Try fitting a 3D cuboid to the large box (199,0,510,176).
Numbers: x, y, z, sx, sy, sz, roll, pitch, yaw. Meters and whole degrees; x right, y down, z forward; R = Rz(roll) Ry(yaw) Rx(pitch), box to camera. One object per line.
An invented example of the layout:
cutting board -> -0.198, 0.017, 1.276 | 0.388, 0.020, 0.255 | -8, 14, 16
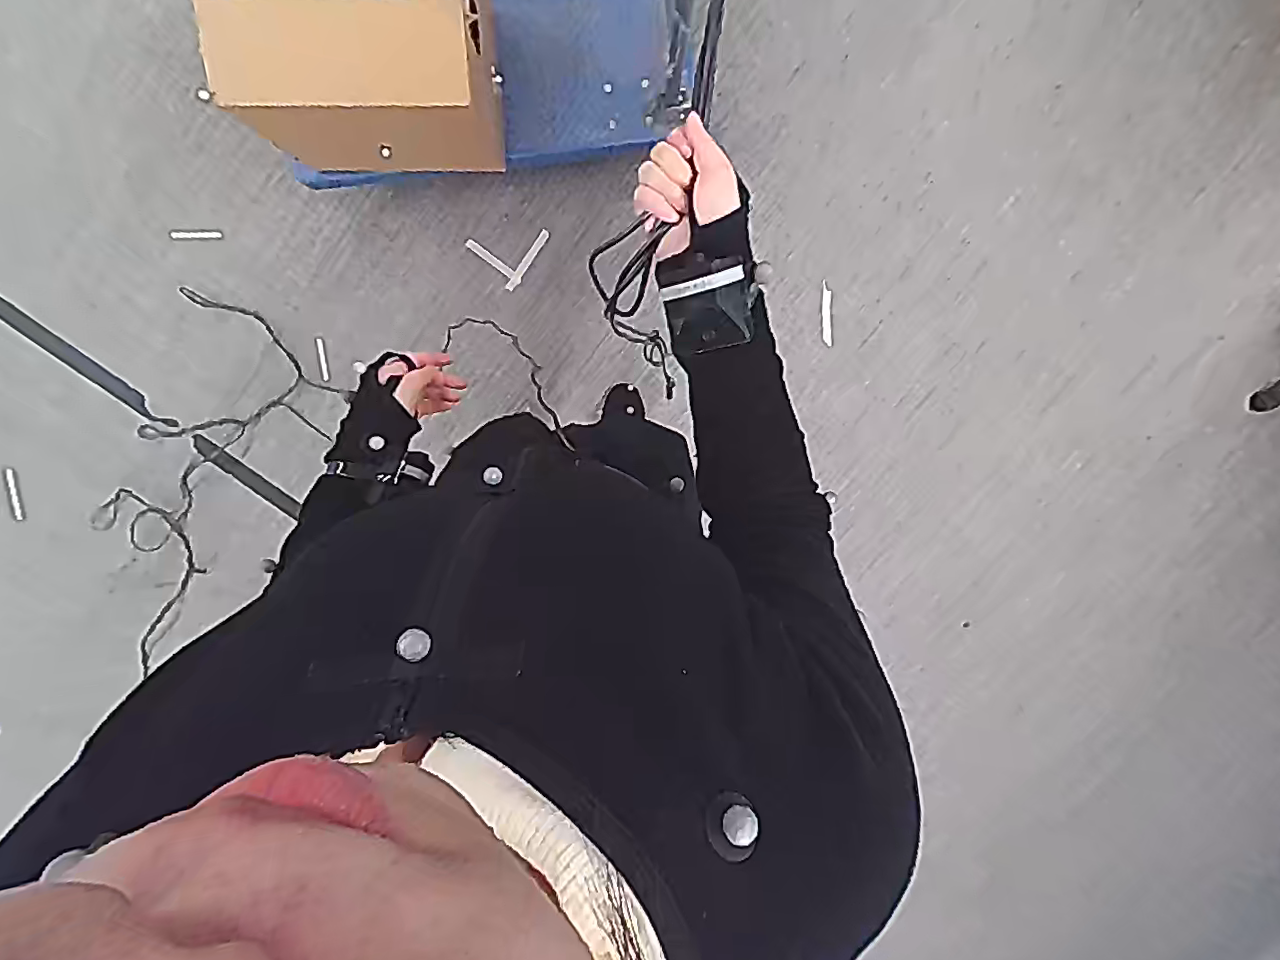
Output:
large box -> -0.473, -0.762, 0.967 | 0.408, 0.320, 0.320 | -2, 102, -2
